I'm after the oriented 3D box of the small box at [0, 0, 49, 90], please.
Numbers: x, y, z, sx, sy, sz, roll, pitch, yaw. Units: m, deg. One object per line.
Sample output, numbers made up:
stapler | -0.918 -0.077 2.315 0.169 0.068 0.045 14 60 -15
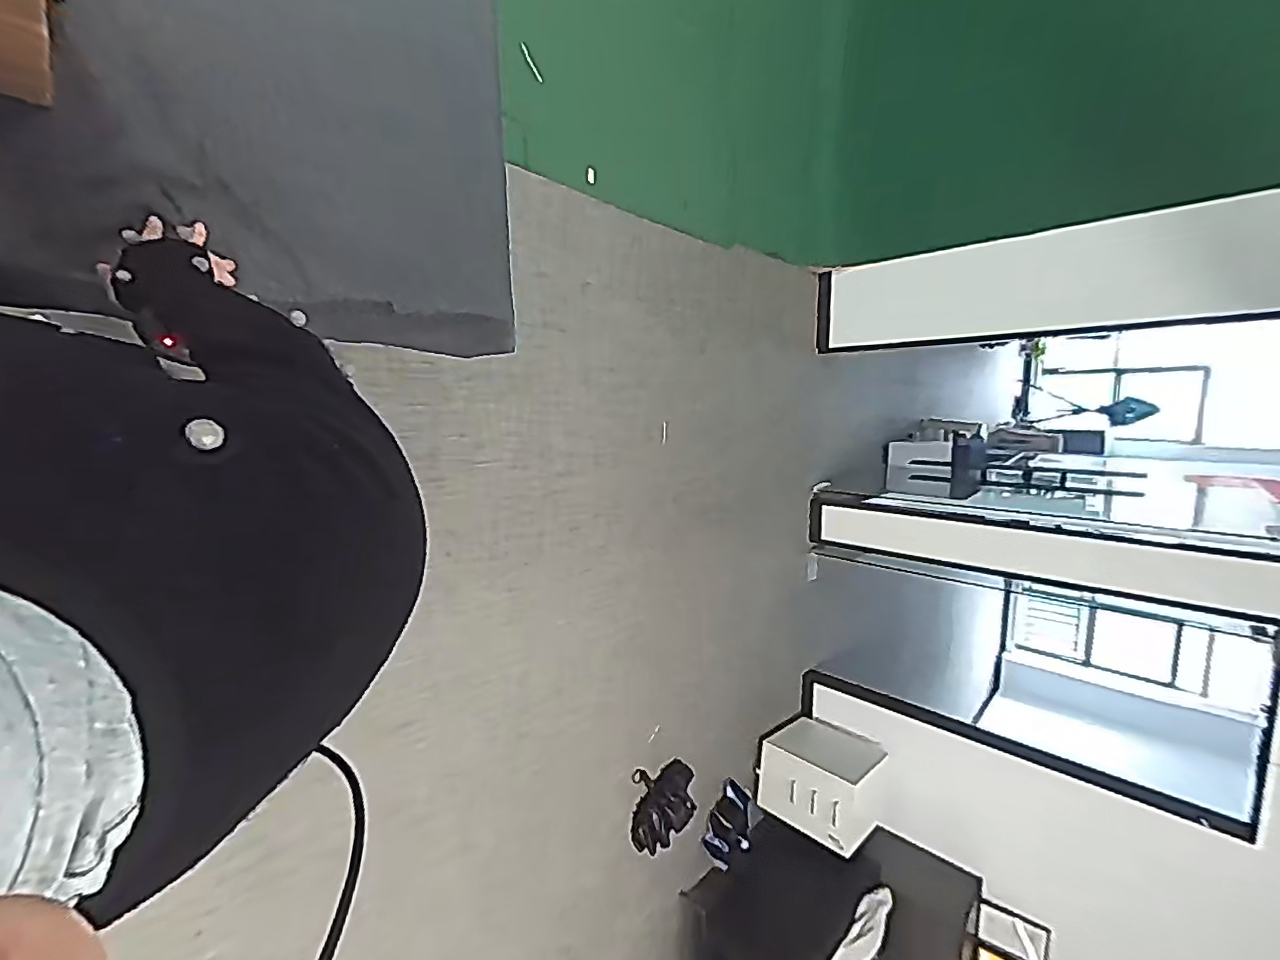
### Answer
small box | -0.605 -0.462 0.434 0.168 0.176 0.179 -6 101 -46
